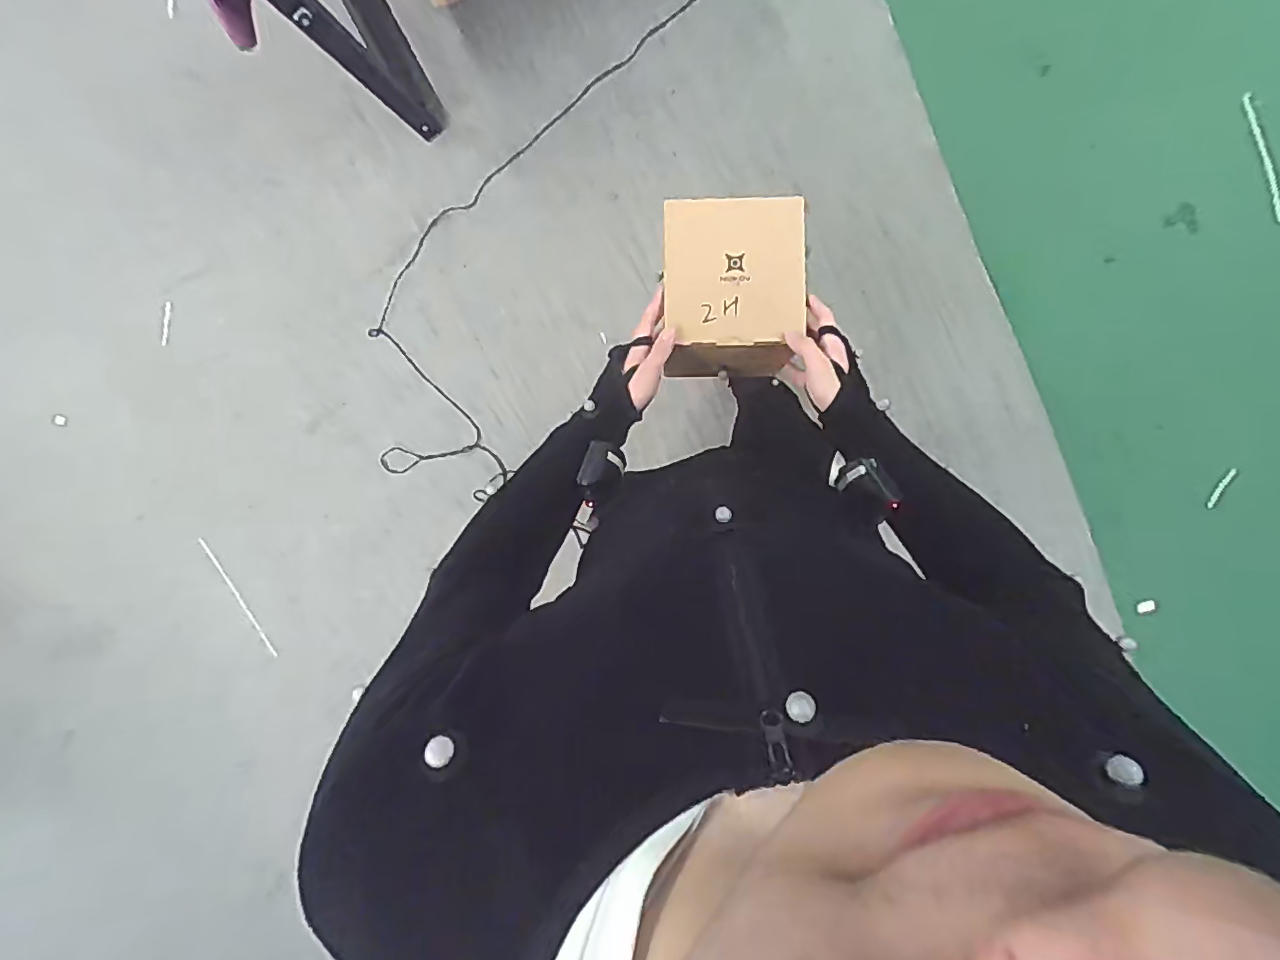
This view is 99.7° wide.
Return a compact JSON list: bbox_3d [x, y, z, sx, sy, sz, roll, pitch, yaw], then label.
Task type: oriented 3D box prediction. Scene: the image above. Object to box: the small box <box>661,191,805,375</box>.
[{"bbox_3d":[0.111,-0.244,0.703,0.168,0.176,0.179,0,88,3],"label":"small box"}]
